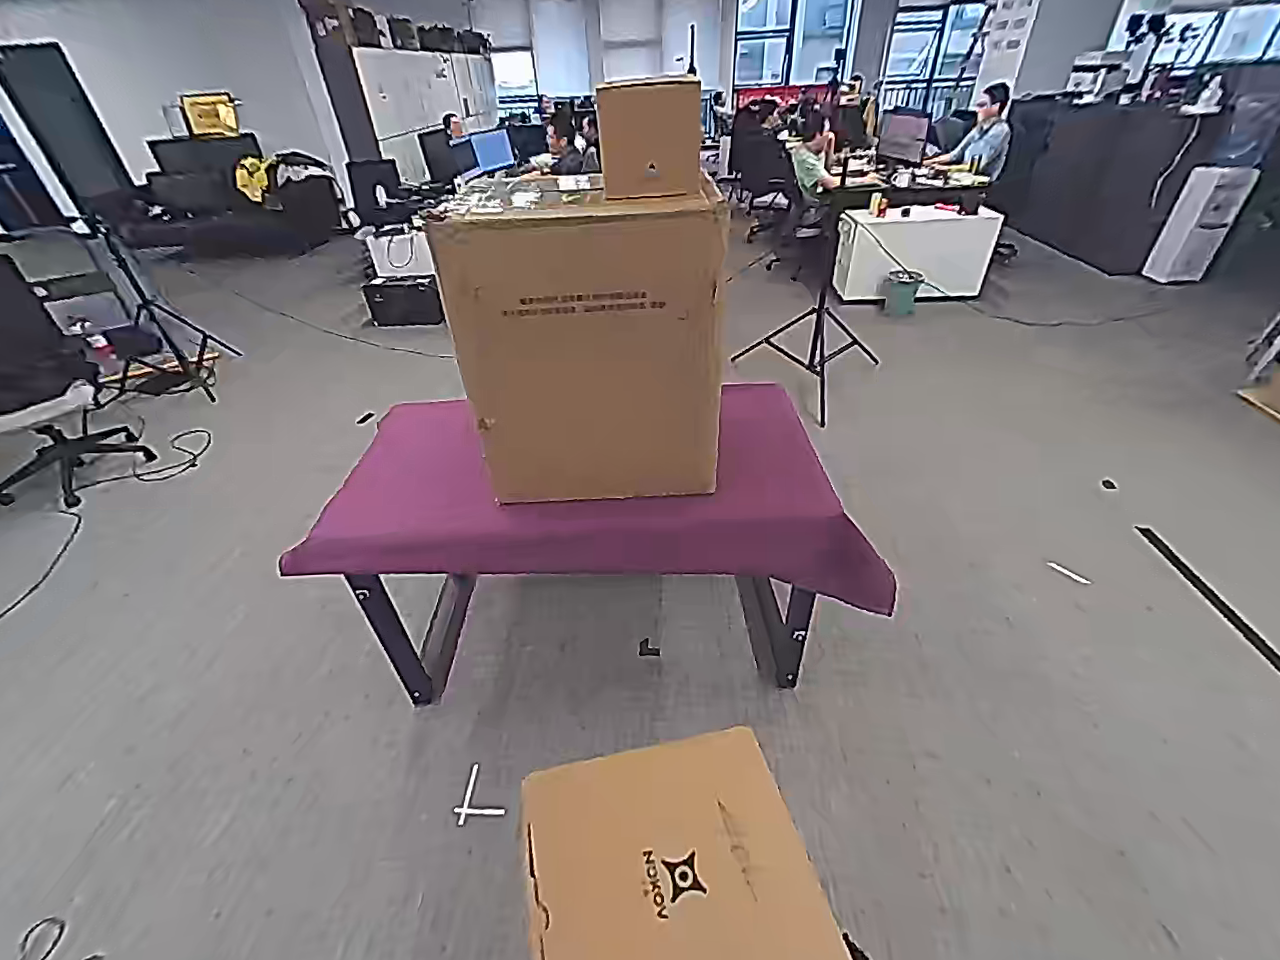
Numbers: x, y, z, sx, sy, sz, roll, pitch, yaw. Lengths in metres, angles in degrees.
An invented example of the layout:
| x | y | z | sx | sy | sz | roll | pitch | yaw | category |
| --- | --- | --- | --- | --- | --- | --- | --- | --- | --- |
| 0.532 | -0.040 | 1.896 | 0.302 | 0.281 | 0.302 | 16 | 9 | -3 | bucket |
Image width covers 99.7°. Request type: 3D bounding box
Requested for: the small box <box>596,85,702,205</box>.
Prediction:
| x | y | z | sx | sy | sz | roll | pitch | yaw | category |
| --- | --- | --- | --- | --- | --- | --- | --- | --- | --- |
| 0.018 | -0.620 | 1.001 | 0.179 | 0.176 | 0.168 | -2 | 38 | 2 | small box |
